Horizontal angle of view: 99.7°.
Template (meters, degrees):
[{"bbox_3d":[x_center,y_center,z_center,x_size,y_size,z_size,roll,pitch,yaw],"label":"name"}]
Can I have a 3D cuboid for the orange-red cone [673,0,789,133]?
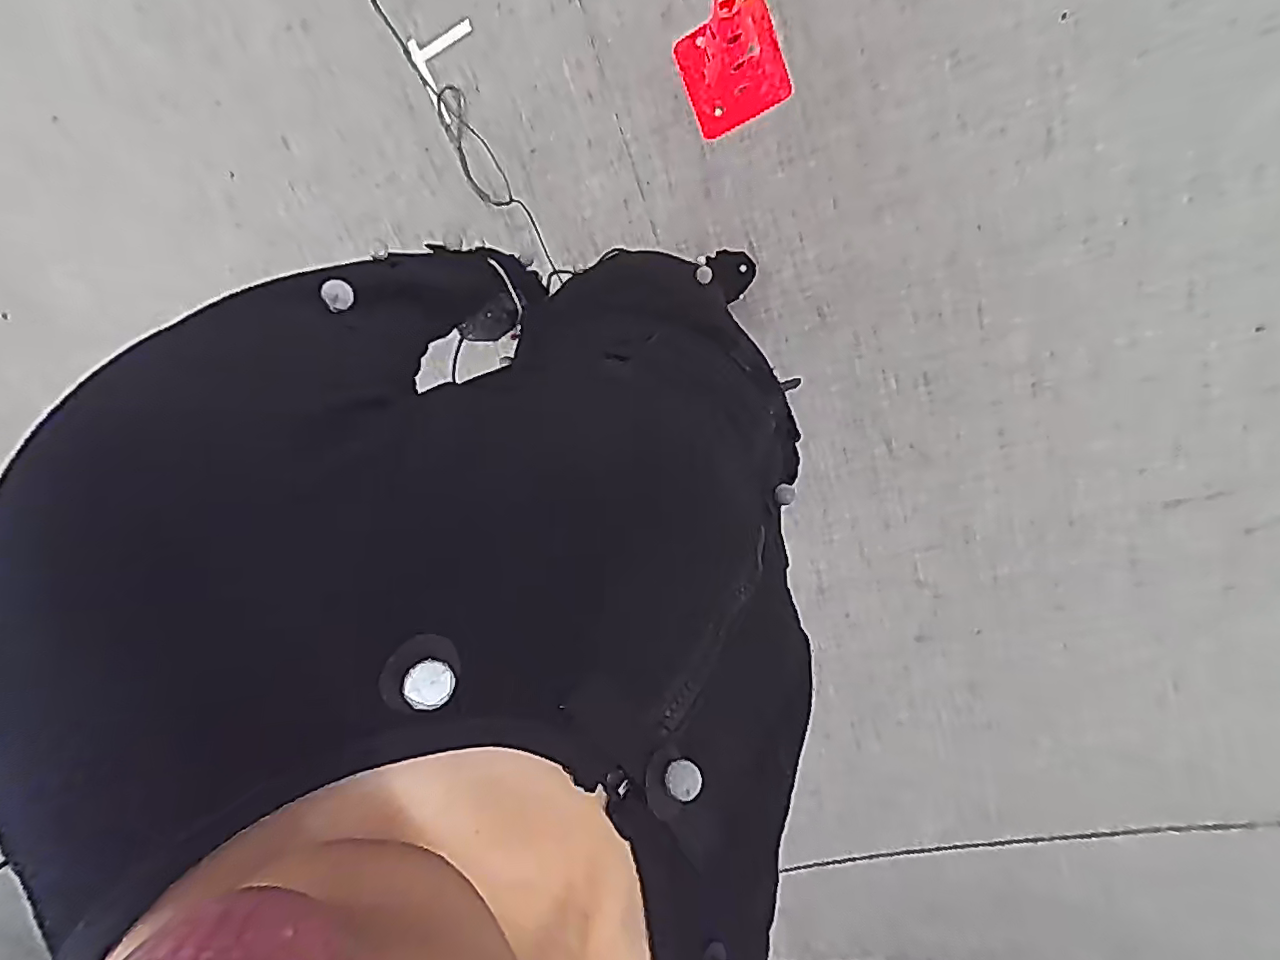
[{"bbox_3d":[0.158,-0.785,0.953,0.199,0.360,0.198,-20,109,17],"label":"orange-red cone"}]
